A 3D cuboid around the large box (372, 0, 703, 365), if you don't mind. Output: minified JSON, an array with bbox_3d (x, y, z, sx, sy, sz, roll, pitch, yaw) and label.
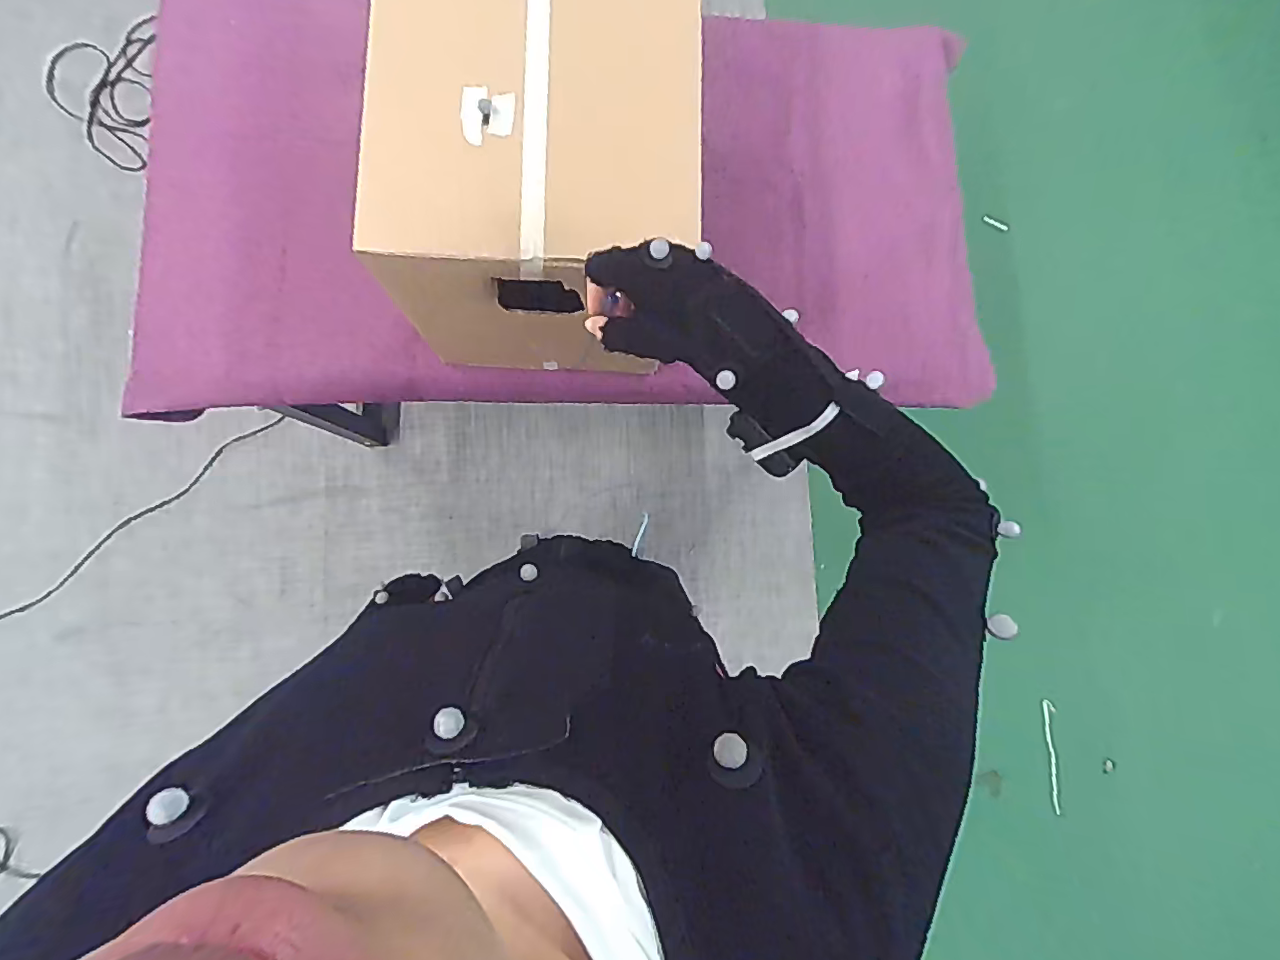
[{"bbox_3d":[-0.109,-0.389,0.672,0.320,0.320,0.408,2,85,-6],"label":"large box"}]
